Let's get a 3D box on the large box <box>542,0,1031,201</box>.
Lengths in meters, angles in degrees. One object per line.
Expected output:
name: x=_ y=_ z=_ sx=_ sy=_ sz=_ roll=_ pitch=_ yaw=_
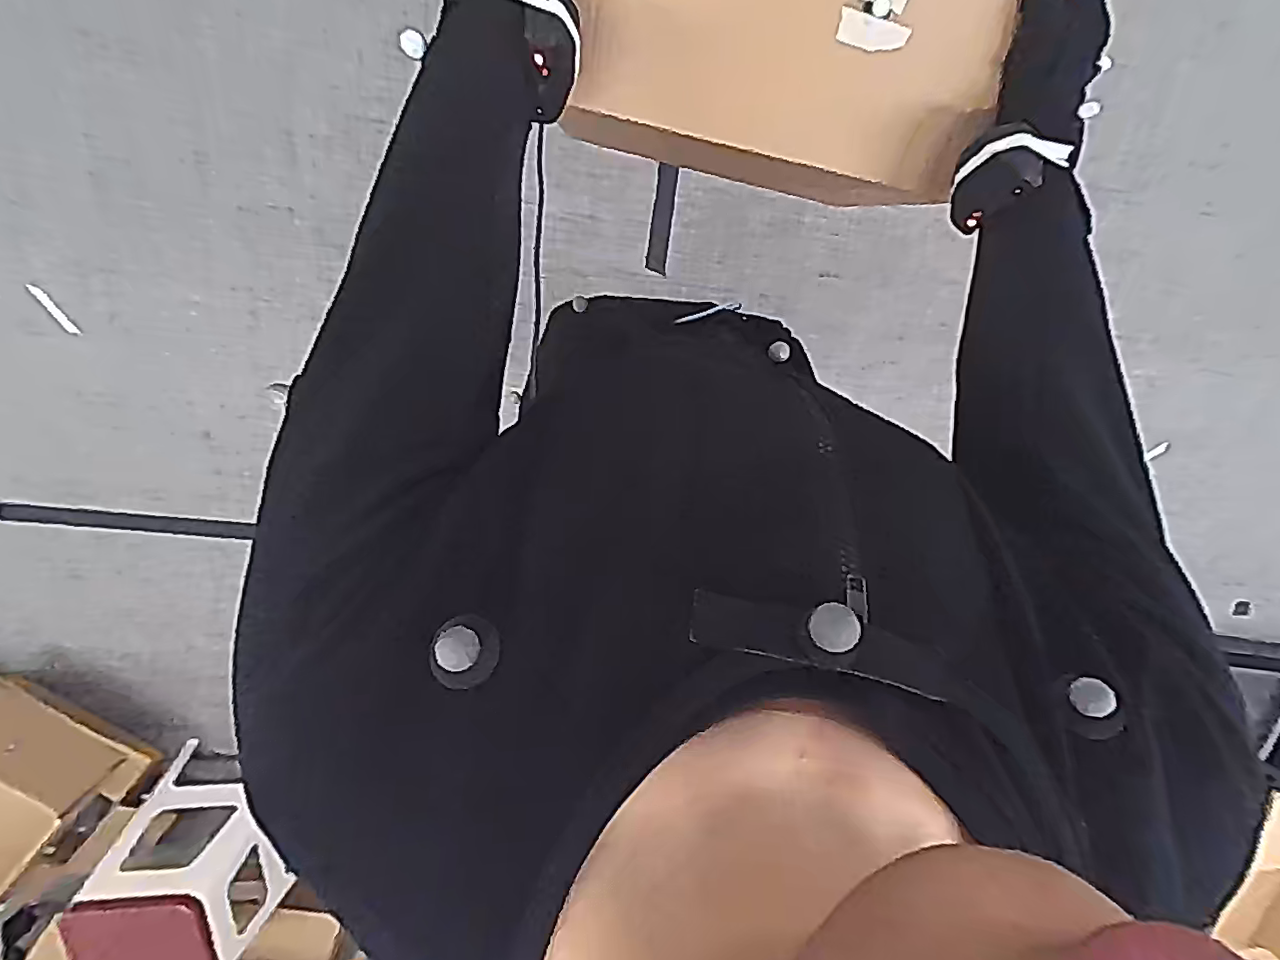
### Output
large box: x=0.127 y=-0.500 z=0.562 sx=0.408 sy=0.320 sz=0.320 roll=9 pitch=117 yaw=-7
